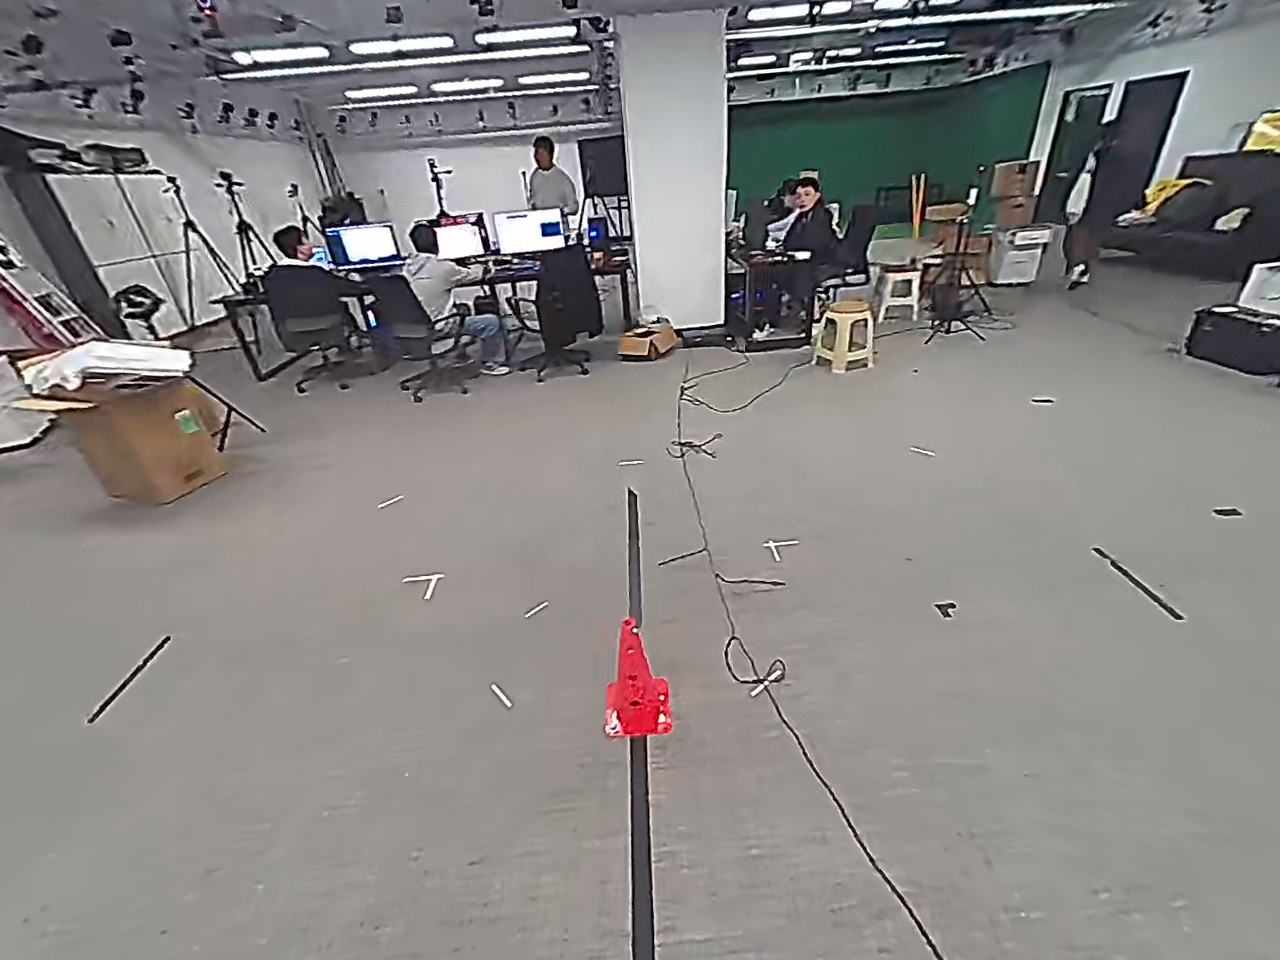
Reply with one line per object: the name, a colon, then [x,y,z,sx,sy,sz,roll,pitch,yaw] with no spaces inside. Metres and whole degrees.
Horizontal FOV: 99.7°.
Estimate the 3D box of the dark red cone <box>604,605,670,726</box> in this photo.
dark red cone: [-0.021,0.532,1.593,0.201,0.394,0.202,-4,29,-1]
